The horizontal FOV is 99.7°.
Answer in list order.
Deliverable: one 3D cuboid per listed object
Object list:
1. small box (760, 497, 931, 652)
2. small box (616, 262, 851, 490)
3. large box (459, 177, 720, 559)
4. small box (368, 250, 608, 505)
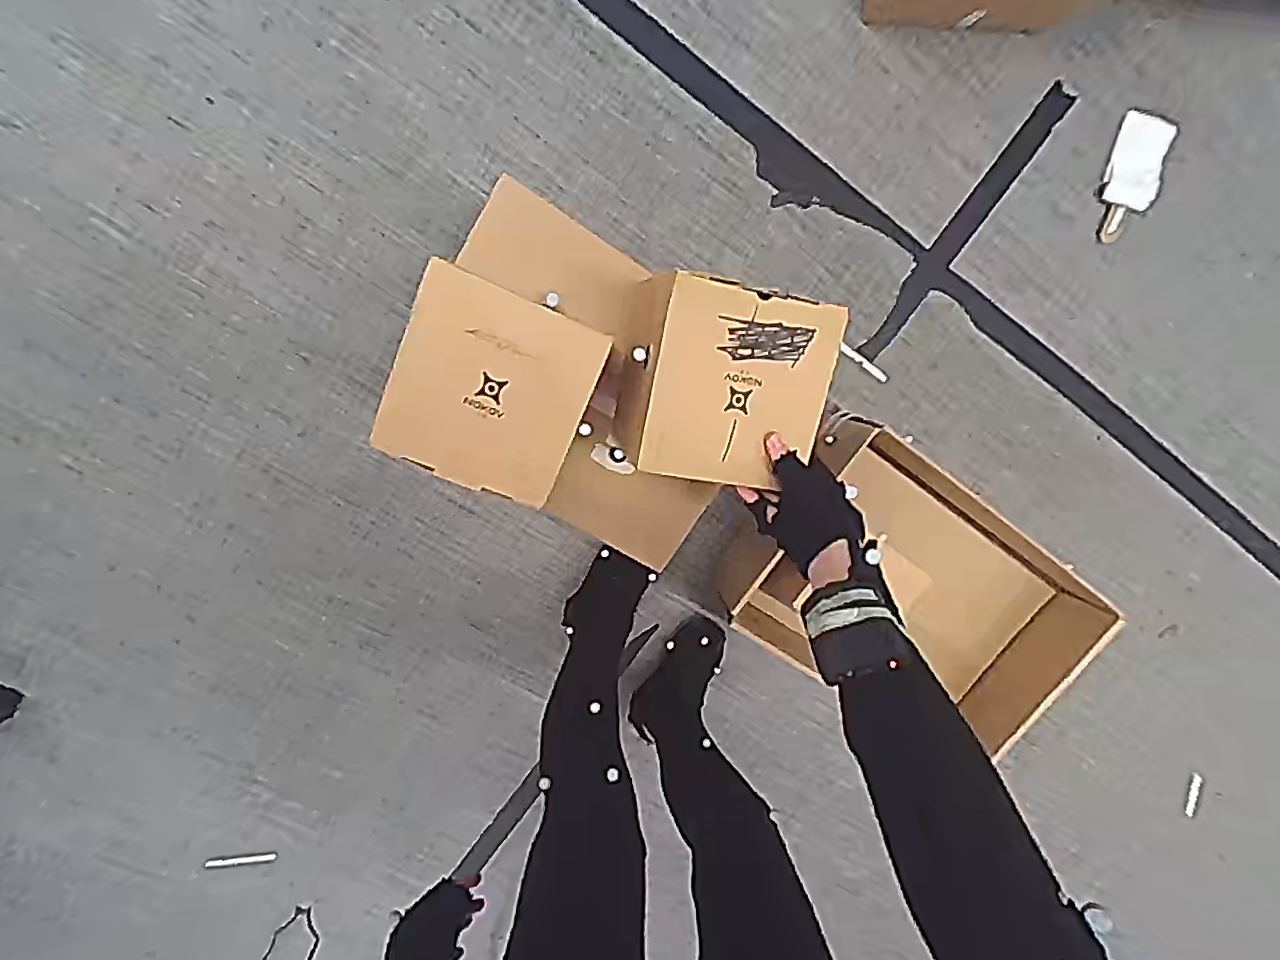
[{"bbox_3d":[0.339,0.152,0.924,0.179,0.176,0.168,33,98,-14],"label":"small box"},{"bbox_3d":[0.077,-0.105,0.553,0.168,0.176,0.179,9,104,-14],"label":"small box"},{"bbox_3d":[-0.071,-0.150,0.793,0.408,0.320,0.320,30,101,-12],"label":"large box"},{"bbox_3d":[-0.140,-0.103,0.548,0.168,0.176,0.179,21,102,-11],"label":"small box"}]
